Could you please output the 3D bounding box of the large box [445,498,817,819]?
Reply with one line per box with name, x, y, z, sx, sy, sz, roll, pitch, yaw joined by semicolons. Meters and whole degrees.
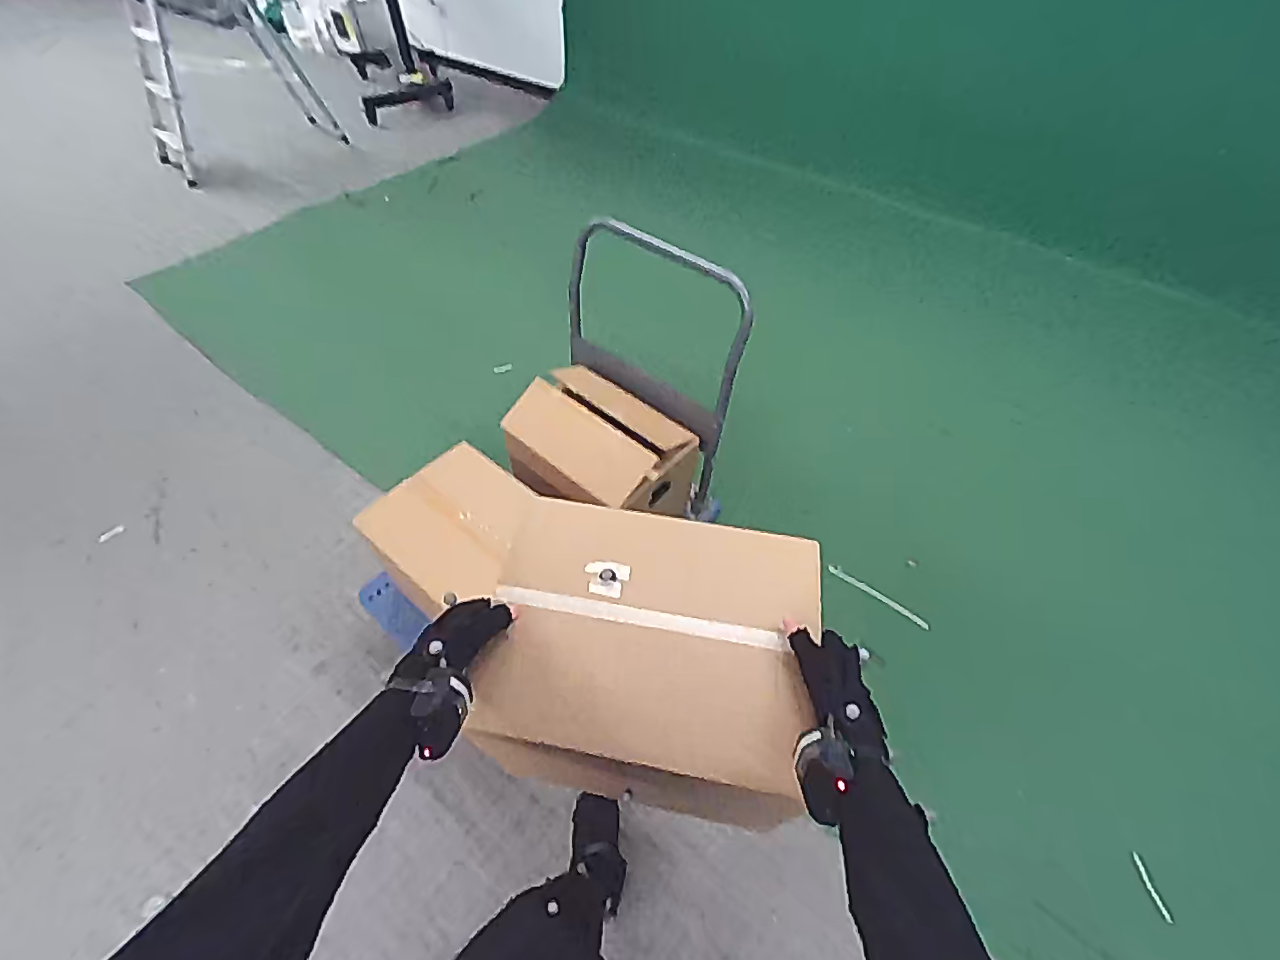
large box;0.013;0.257;0.768;0.408;0.320;0.320;8;52;8
